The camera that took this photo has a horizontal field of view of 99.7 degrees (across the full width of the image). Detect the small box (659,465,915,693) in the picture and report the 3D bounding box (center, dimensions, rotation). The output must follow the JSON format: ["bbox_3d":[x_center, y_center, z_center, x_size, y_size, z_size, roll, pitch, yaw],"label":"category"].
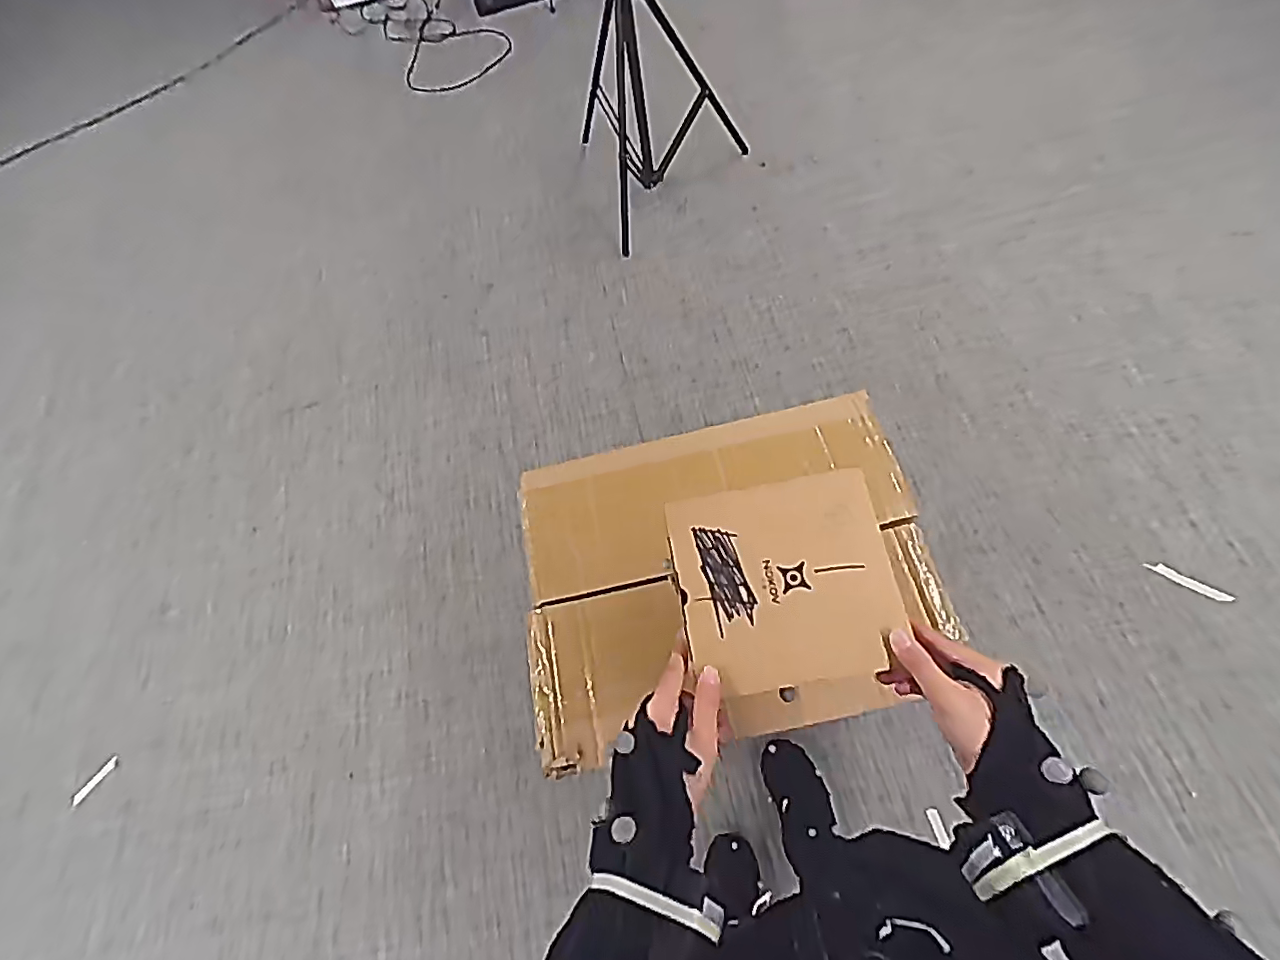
[{"bbox_3d":[0.122,0.102,0.517,0.179,0.176,0.168,-11,72,2],"label":"small box"}]
